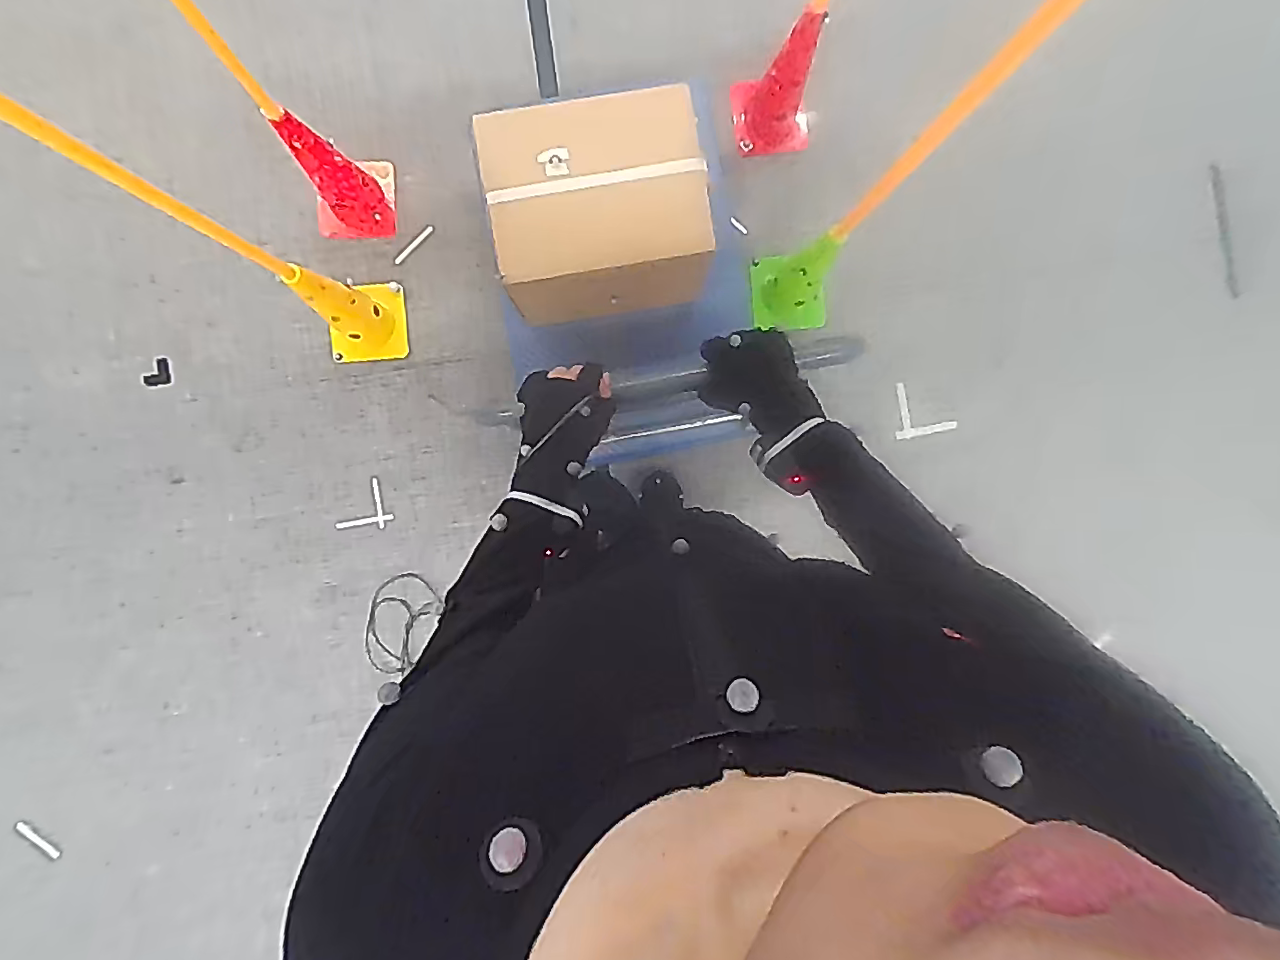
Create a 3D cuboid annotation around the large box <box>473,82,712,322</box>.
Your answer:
[{"bbox_3d":[-0.088,-0.553,1.144,0.408,0.320,0.320,-10,92,-1],"label":"large box"}]

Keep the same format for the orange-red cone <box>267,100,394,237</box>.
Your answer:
[{"bbox_3d":[-0.745,-0.750,1.263,0.198,0.360,0.199,-1,89,-3],"label":"orange-red cone"}]

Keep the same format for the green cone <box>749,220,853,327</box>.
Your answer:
[{"bbox_3d":[0.411,-0.521,1.308,0.202,0.368,0.200,-5,91,-3],"label":"green cone"}]

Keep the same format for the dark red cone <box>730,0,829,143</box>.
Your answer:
[{"bbox_3d":[0.360,-1.003,1.284,0.201,0.394,0.202,-9,91,-4],"label":"dark red cone"}]
